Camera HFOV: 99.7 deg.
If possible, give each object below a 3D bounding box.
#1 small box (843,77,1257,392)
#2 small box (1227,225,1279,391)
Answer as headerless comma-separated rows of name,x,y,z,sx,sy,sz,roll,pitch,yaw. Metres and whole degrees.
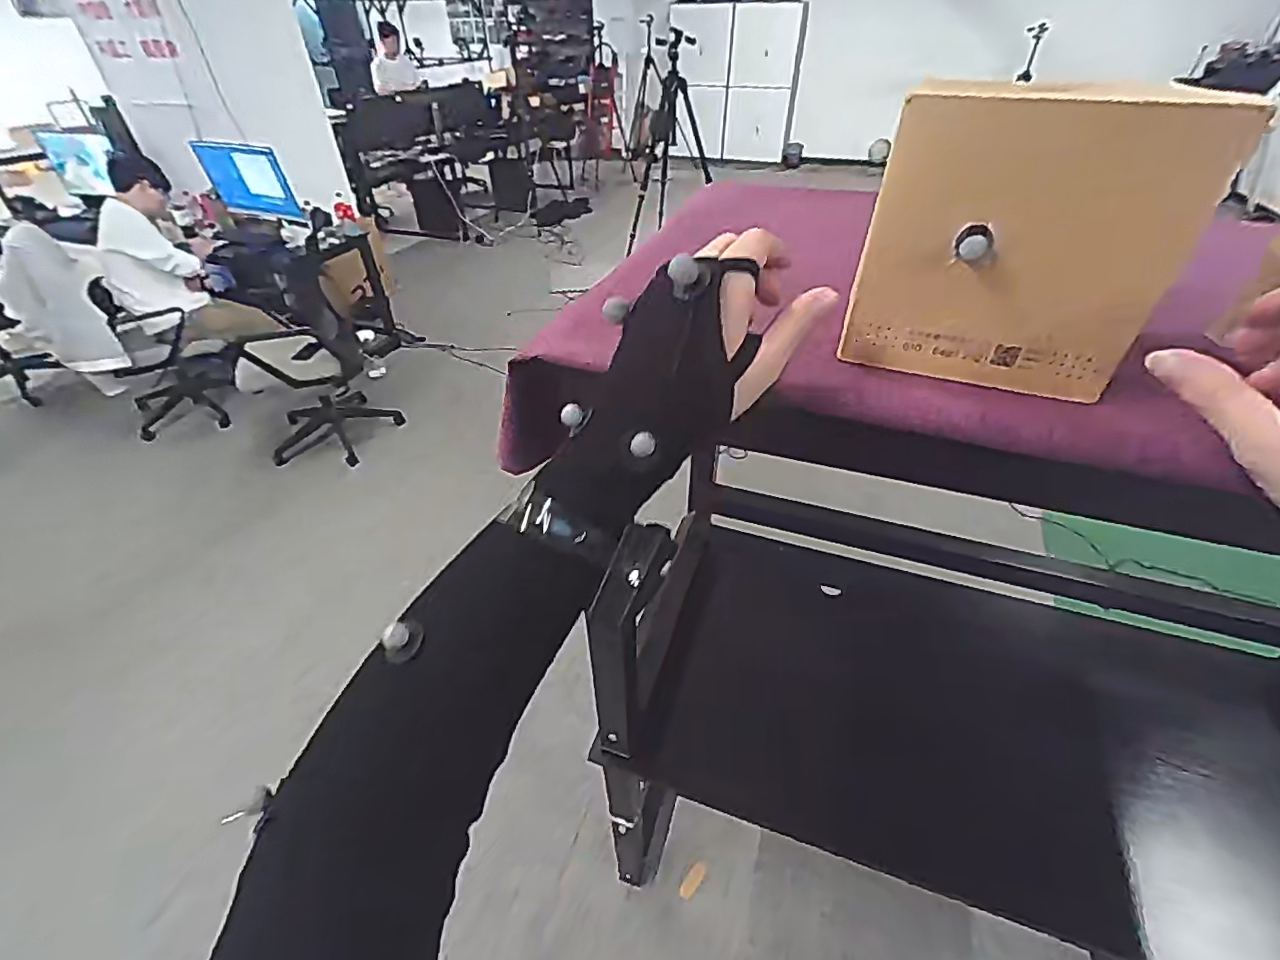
small box,0.254,-0.182,0.392,0.168,0.176,0.179,14,41,18
small box,0.516,-0.121,0.314,0.179,0.176,0.168,11,41,14
